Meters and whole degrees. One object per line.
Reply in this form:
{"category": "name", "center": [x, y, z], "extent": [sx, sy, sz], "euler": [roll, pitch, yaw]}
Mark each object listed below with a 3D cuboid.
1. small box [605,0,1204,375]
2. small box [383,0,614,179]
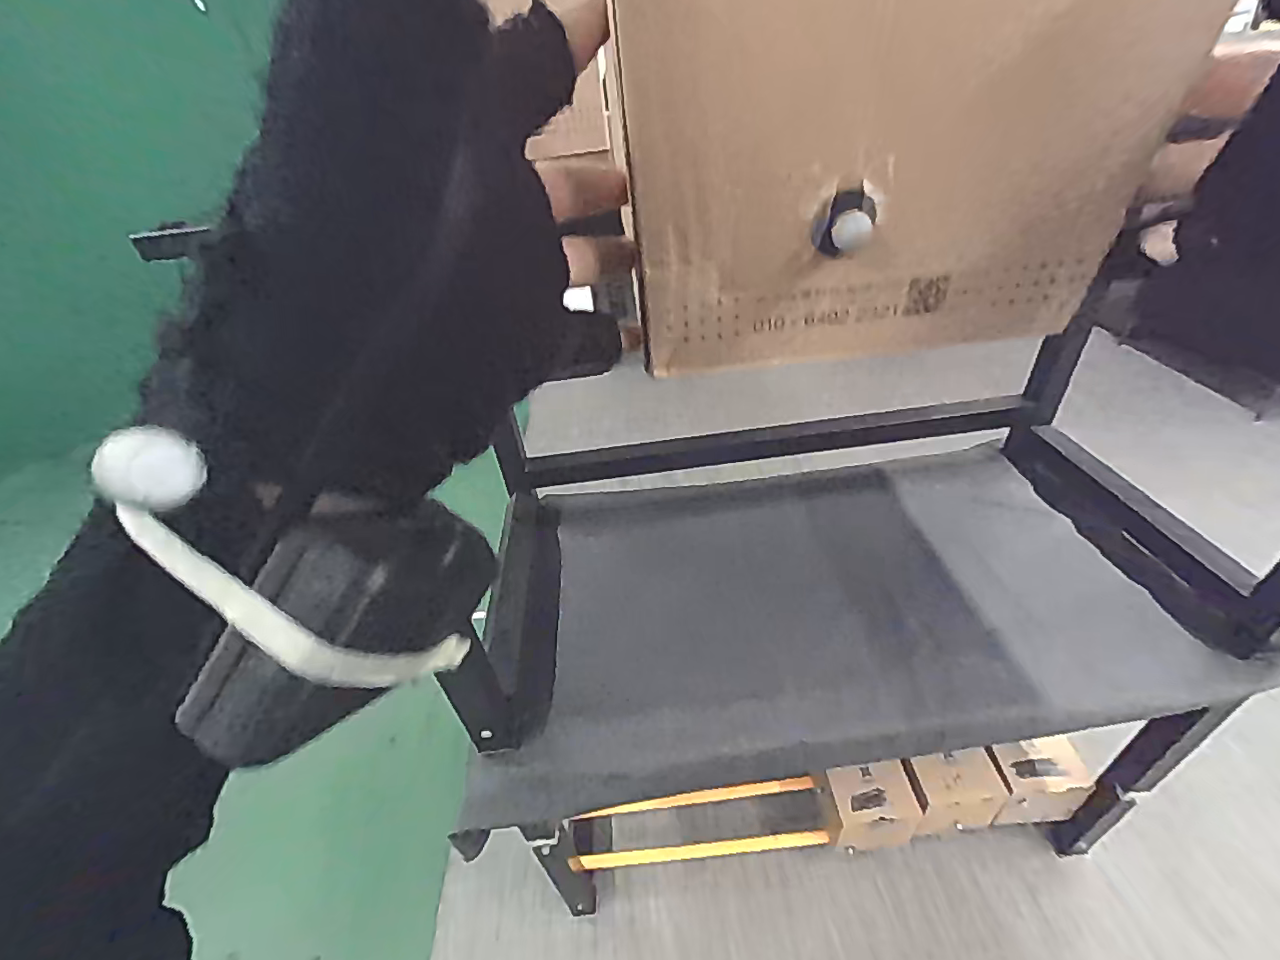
{"category": "small box", "center": [0.071, -0.166, 0.226], "extent": [0.168, 0.176, 0.179], "euler": [-7, 46, 1]}
{"category": "small box", "center": [-0.121, -0.386, 0.495], "extent": [0.168, 0.176, 0.179], "euler": [-10, 38, -2]}
